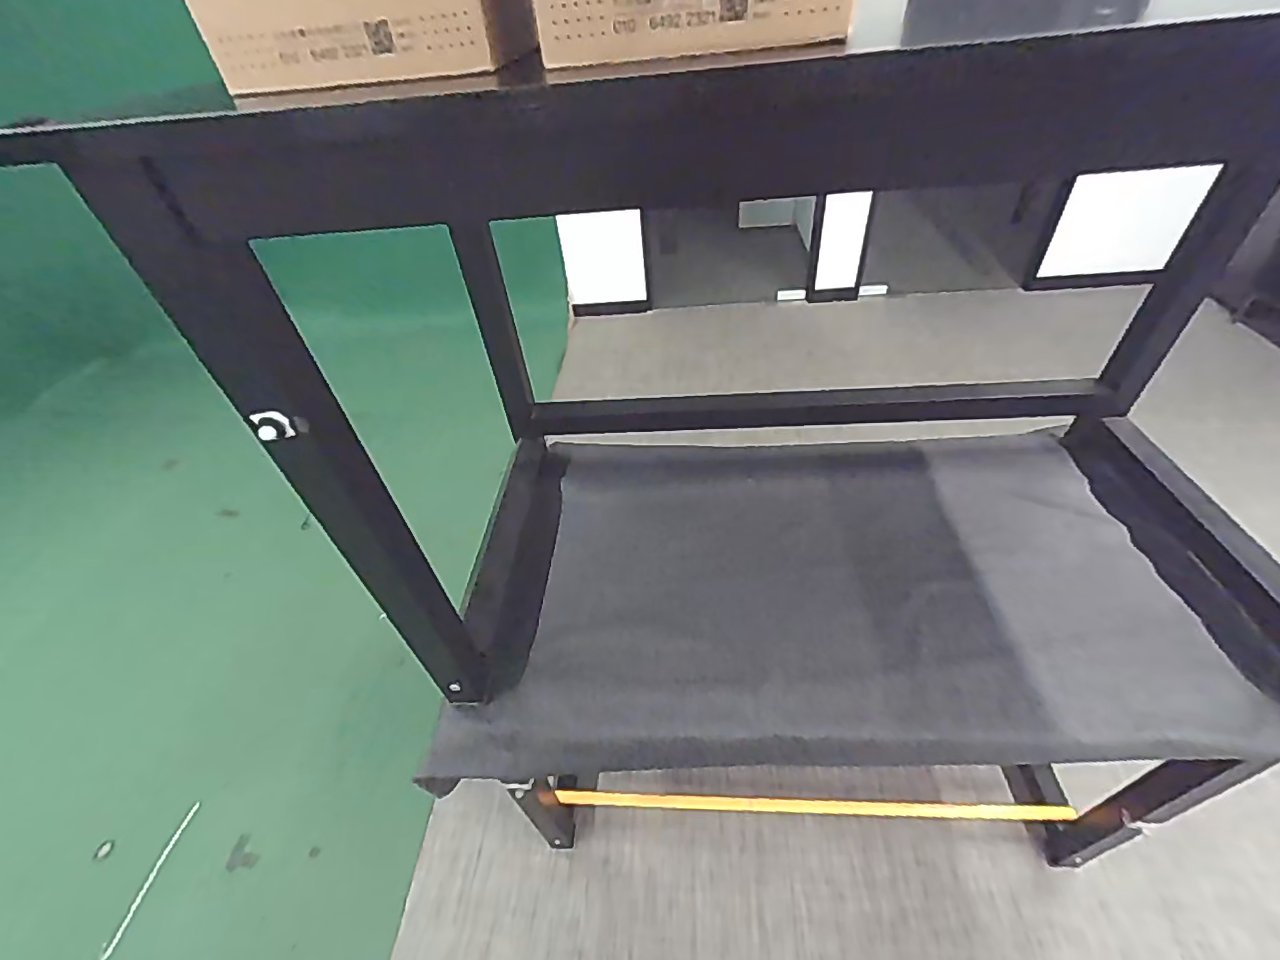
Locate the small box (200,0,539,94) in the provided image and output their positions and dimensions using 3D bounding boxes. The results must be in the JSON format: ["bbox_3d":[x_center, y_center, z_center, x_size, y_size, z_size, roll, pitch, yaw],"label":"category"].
[{"bbox_3d":[-0.169,-0.350,0.332,0.168,0.176,0.179,0,43,5],"label":"small box"}]
